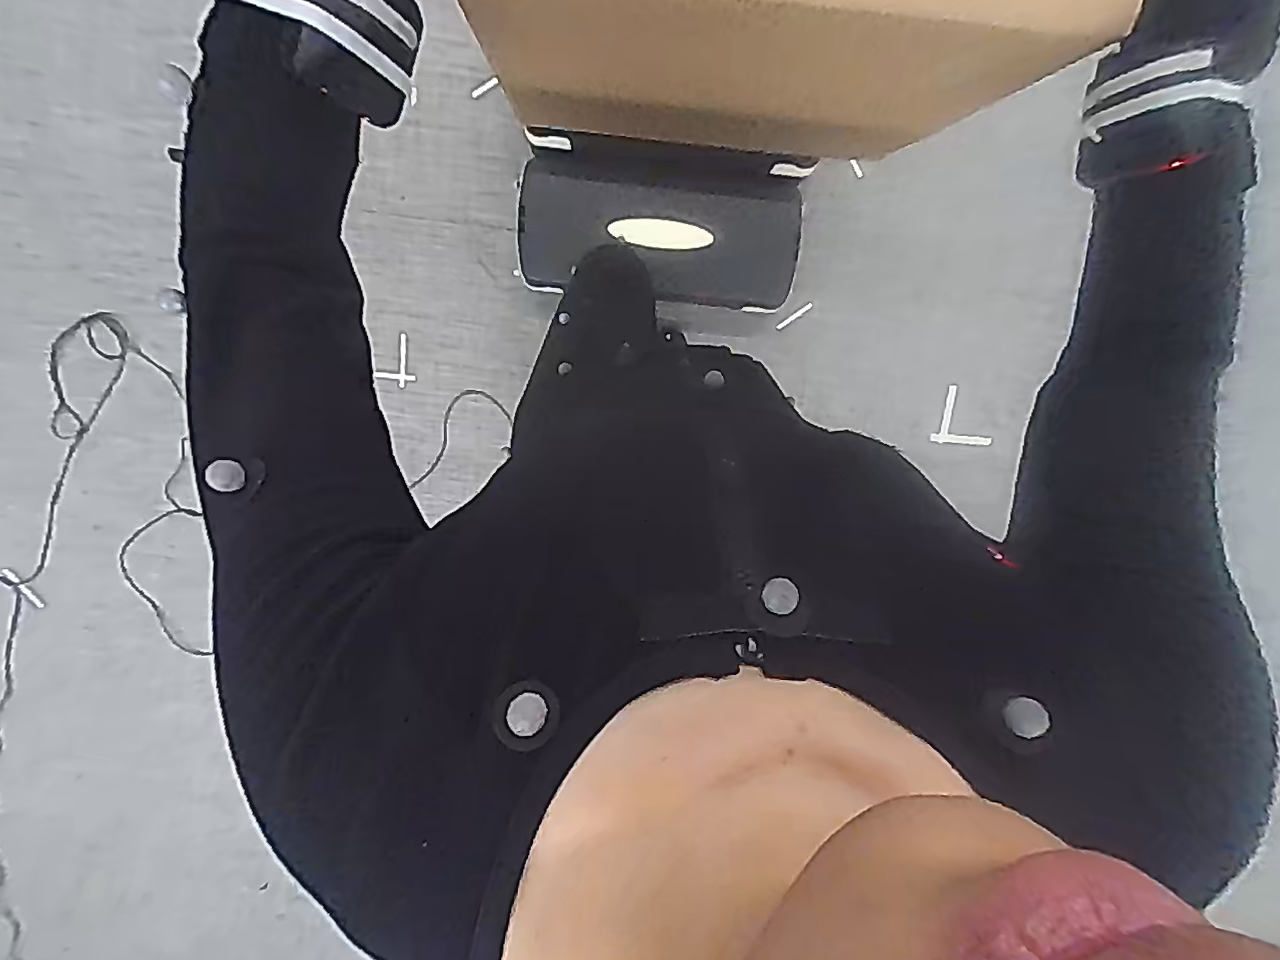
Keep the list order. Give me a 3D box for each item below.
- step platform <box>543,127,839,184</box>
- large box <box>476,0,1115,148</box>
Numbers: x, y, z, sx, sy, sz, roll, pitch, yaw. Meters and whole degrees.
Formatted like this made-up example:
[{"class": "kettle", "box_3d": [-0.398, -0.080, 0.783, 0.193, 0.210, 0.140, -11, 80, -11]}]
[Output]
[{"class": "step platform", "box_3d": [0.120, -0.866, 1.203, 0.684, 0.204, 0.286, 4, 103, -4]}, {"class": "large box", "box_3d": [0.088, -0.476, 0.411, 0.408, 0.320, 0.320, 2, 109, -5]}]
